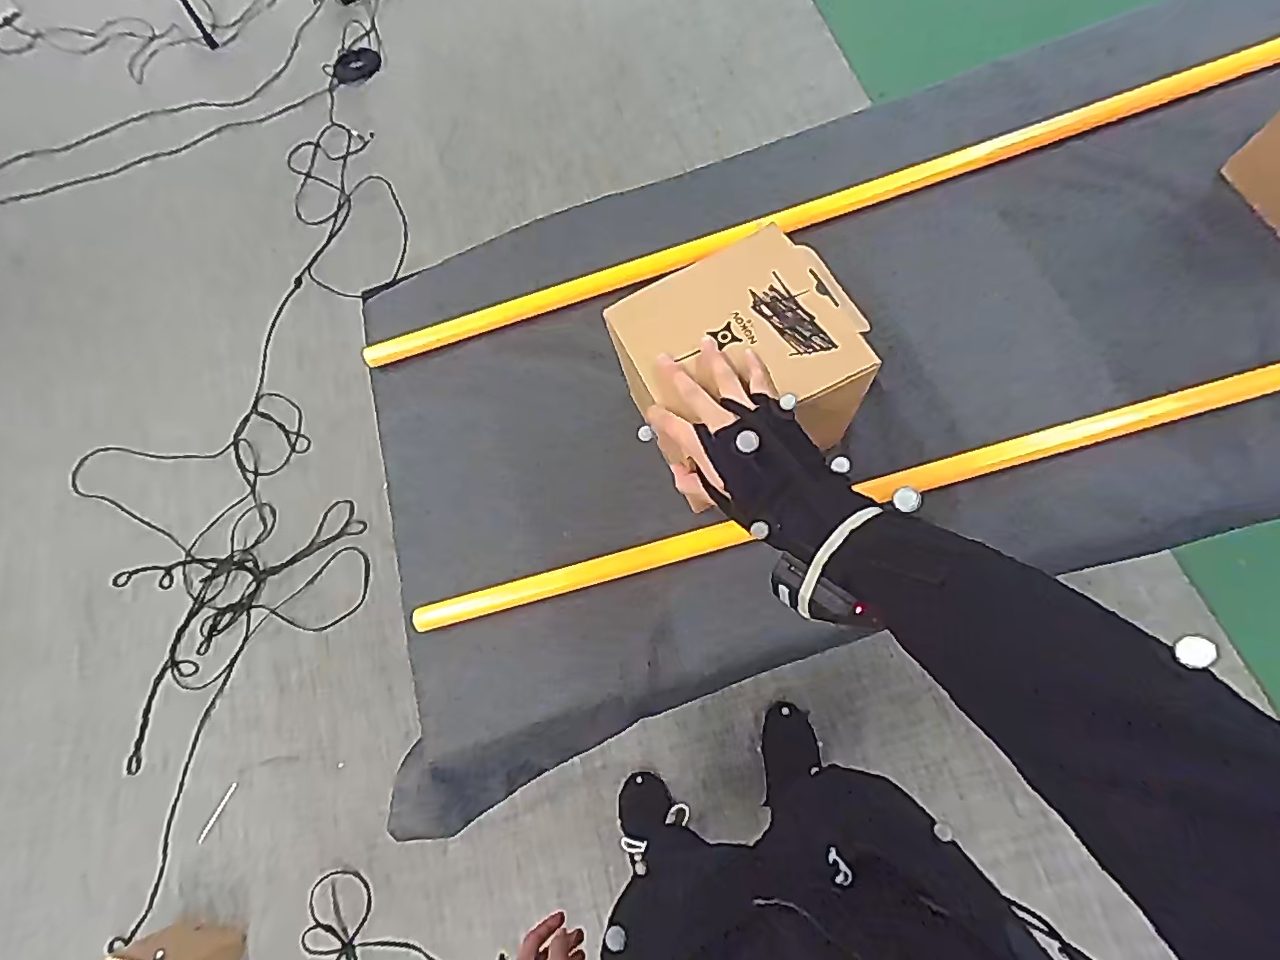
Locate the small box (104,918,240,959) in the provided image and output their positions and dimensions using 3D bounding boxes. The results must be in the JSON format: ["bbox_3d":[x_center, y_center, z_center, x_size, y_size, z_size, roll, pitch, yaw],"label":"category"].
[{"bbox_3d":[-0.962,1.038,1.093,0.168,0.176,0.179,3,72,10],"label":"small box"}]

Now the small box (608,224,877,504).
[{"bbox_3d":[0.091,-0.099,0.530,0.179,0.176,0.168,-27,69,0],"label":"small box"}]
